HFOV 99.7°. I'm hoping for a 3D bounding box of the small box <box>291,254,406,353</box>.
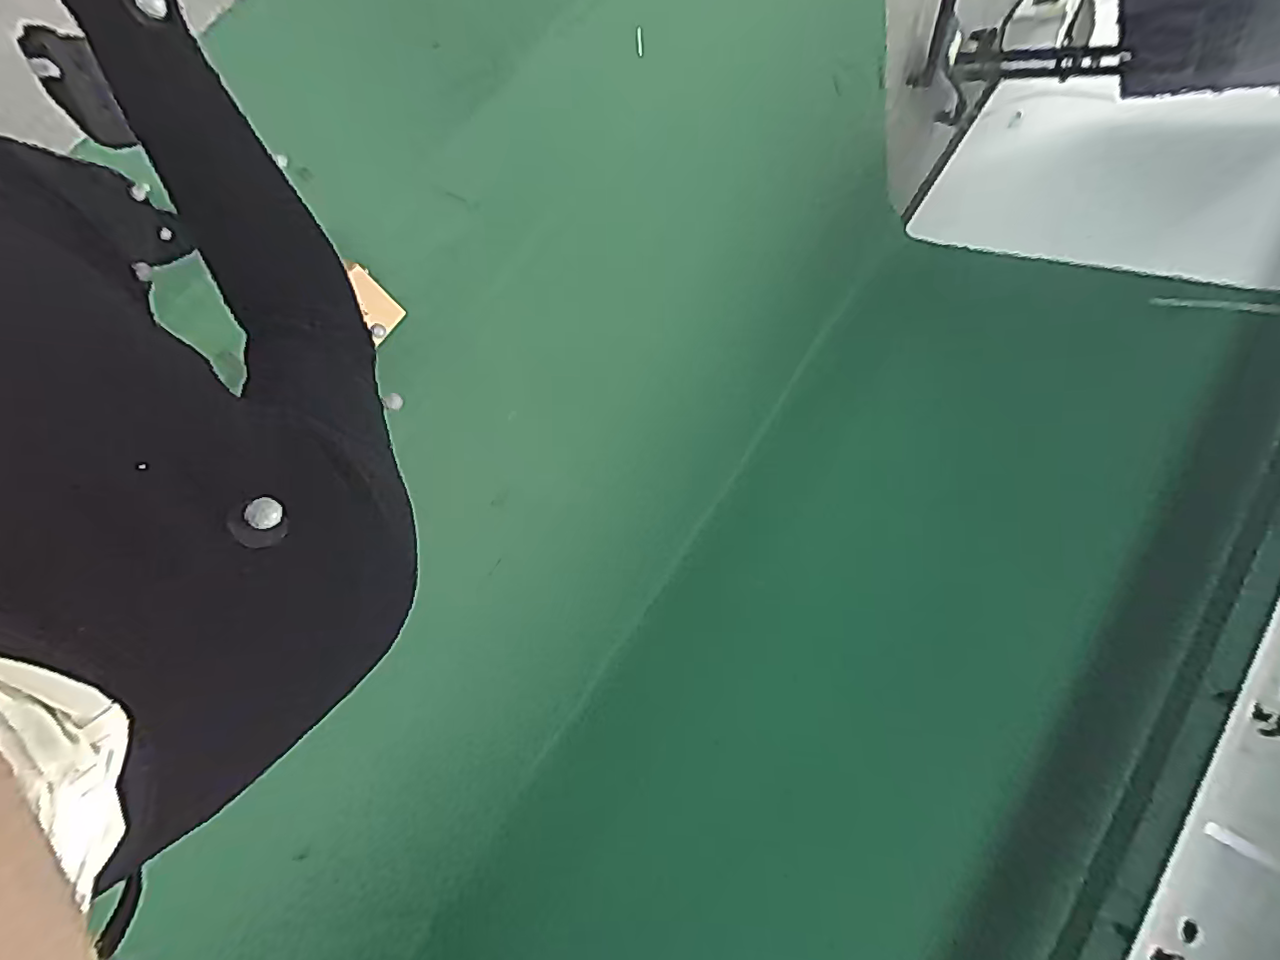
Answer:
[{"bbox_3d":[-0.776,-0.475,1.442,0.168,0.176,0.179,-55,145,-11],"label":"small box"}]
